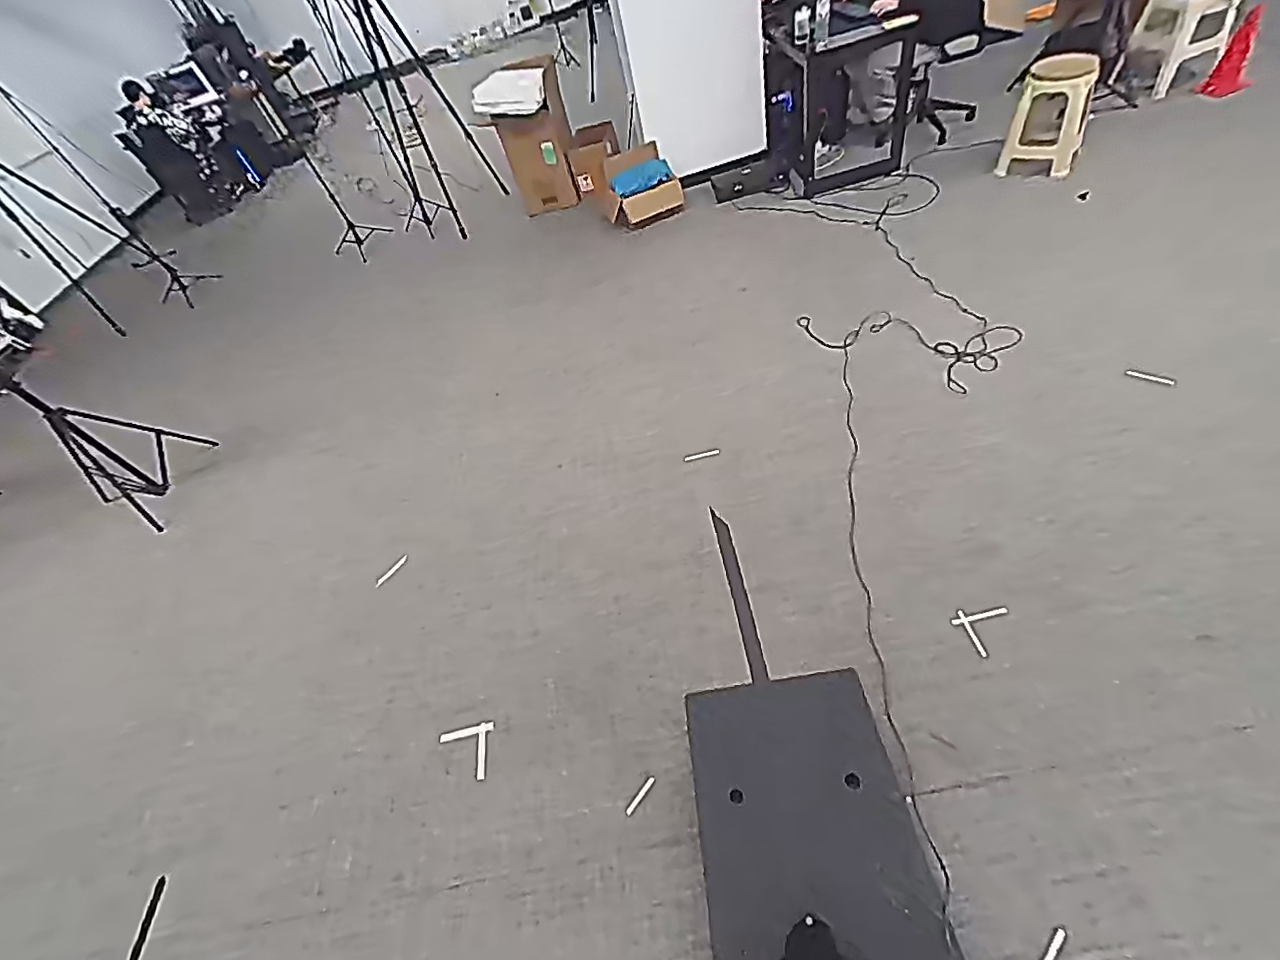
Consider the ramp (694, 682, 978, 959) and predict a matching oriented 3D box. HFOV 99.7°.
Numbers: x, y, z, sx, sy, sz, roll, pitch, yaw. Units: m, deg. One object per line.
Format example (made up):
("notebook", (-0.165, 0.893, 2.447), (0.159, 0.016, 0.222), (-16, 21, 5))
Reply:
("ramp", (0.412, 0.924, 1.151), (0.509, 0.206, 0.991), (-16, 46, 6))
